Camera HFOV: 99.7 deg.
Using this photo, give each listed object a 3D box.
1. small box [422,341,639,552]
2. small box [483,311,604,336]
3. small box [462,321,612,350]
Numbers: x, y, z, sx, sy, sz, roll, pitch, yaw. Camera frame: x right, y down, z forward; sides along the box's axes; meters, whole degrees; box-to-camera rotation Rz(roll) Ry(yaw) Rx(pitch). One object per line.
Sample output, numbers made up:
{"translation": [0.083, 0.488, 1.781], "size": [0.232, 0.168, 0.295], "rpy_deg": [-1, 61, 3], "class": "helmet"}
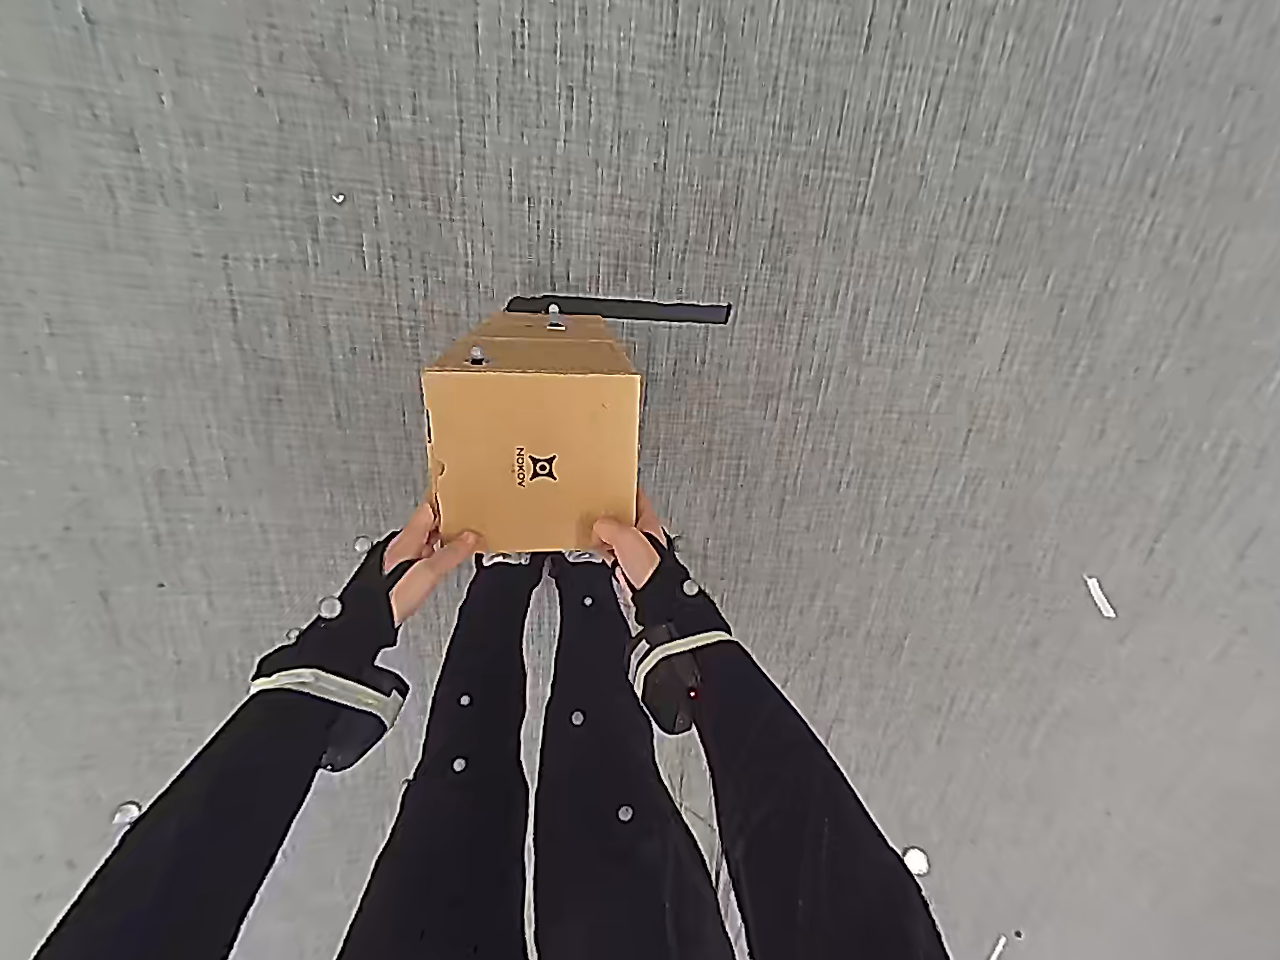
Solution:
{"translation": [-0.100, -0.043, 0.538], "size": [0.179, 0.176, 0.168], "rpy_deg": [-1, 112, -7], "class": "small box"}
{"translation": [-0.143, -0.161, 0.838], "size": [0.168, 0.176, 0.179], "rpy_deg": [0, 111, -7], "class": "small box"}
{"translation": [-0.123, -0.102, 0.688], "size": [0.168, 0.176, 0.179], "rpy_deg": [-1, 111, -8], "class": "small box"}
